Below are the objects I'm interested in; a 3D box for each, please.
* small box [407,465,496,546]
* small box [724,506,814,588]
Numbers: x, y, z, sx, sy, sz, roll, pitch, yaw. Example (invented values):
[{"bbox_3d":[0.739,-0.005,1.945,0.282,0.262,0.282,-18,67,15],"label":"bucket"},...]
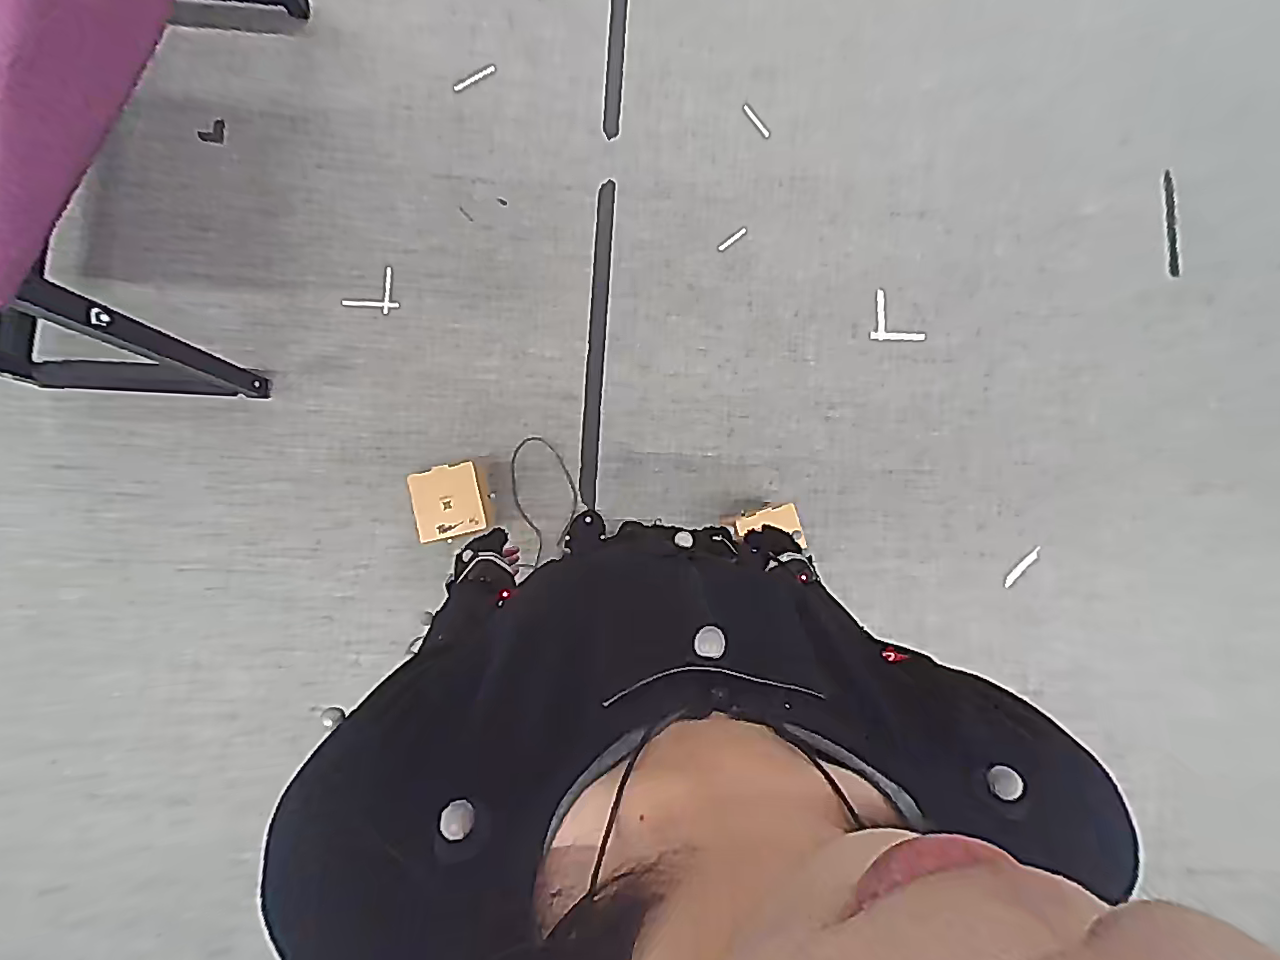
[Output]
[{"bbox_3d":[-0.485,0.071,1.410,0.168,0.176,0.179,-13,85,-6],"label":"small box"},{"bbox_3d":[0.341,0.179,1.471,0.168,0.176,0.179,-18,87,-5],"label":"small box"}]
